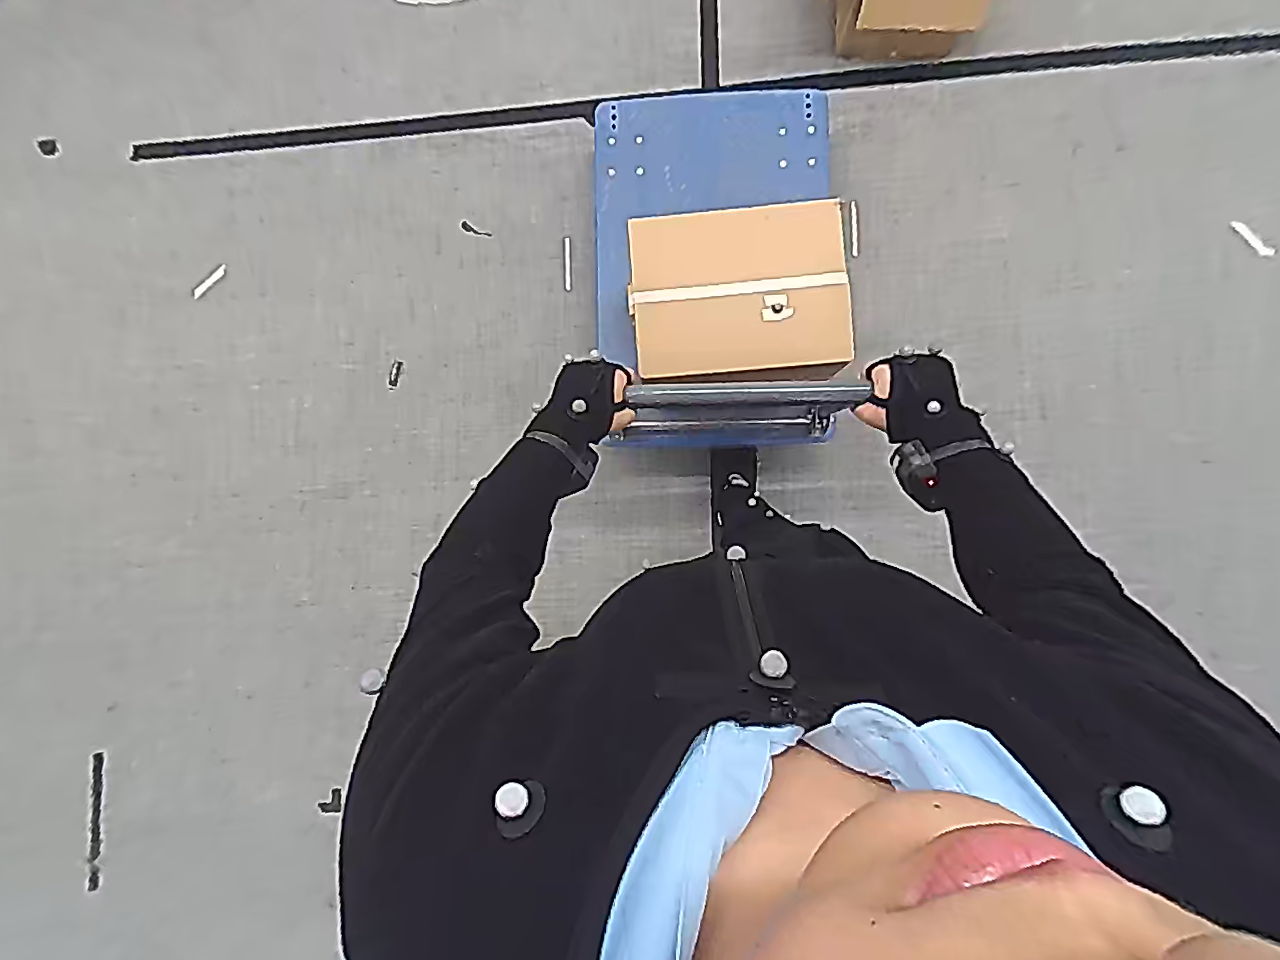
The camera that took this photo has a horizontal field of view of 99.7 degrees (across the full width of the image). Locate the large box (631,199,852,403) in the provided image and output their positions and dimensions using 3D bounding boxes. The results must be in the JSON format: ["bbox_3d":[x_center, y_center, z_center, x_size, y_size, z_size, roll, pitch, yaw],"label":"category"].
[{"bbox_3d":[0.198,-0.364,1.185,0.408,0.320,0.320,-4,88,2],"label":"large box"}]
